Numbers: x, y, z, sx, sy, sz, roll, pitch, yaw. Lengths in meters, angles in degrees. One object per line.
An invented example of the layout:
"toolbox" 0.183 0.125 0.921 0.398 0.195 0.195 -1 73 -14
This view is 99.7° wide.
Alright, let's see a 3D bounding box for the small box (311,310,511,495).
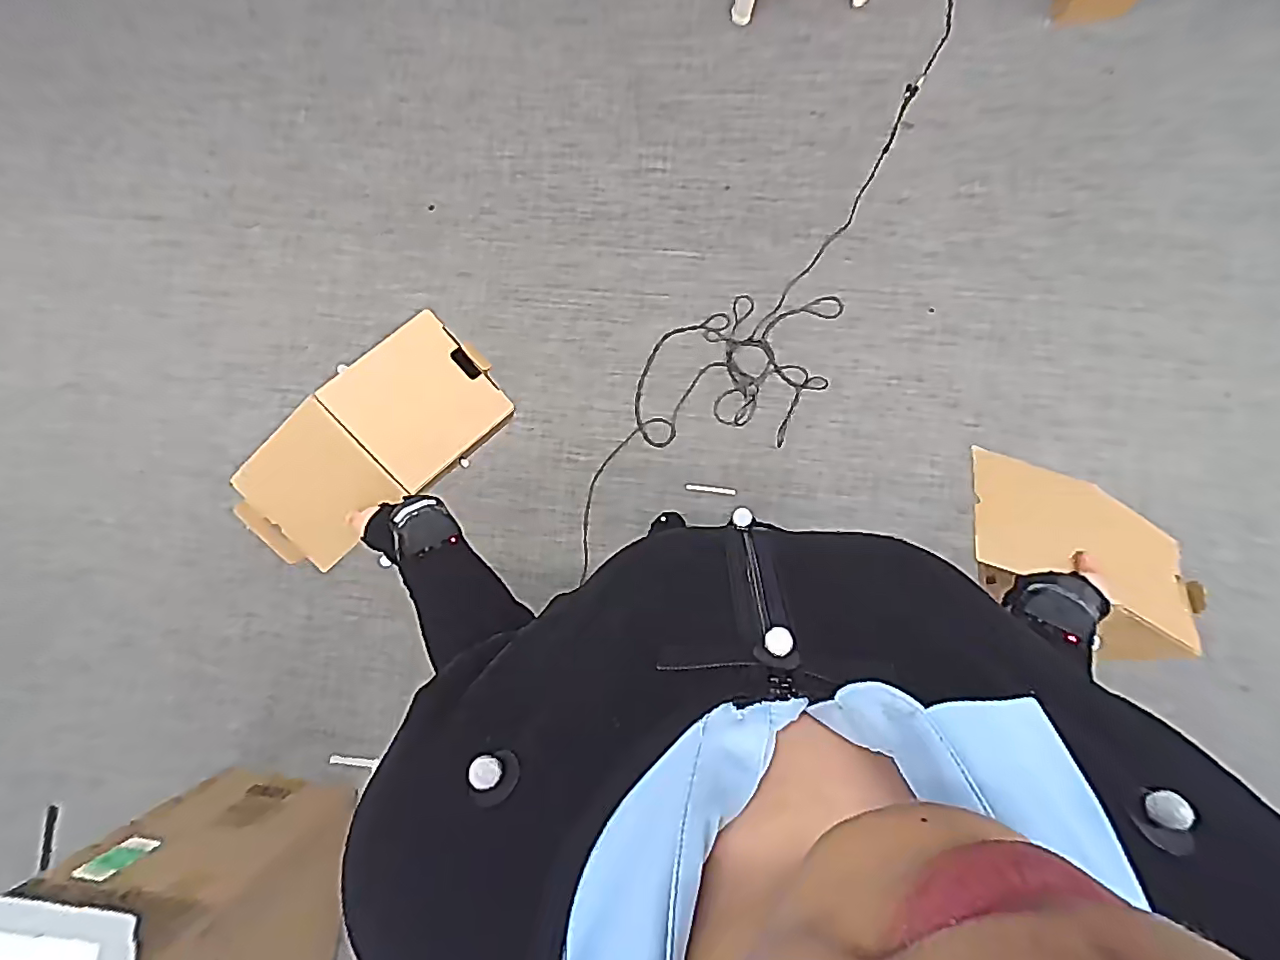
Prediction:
"small box" -0.297 -0.095 0.741 0.179 0.176 0.168 -43 101 -13
